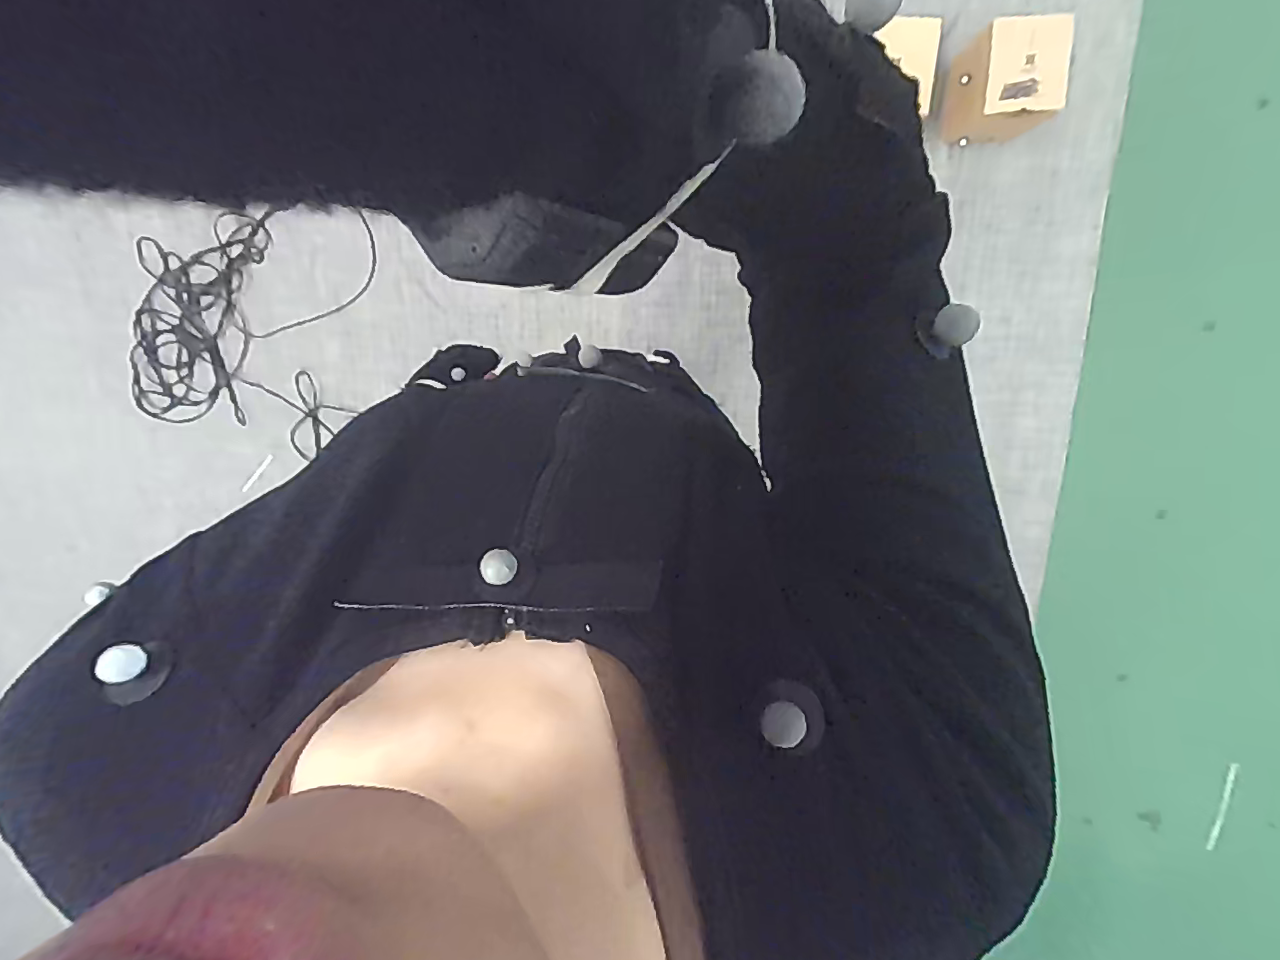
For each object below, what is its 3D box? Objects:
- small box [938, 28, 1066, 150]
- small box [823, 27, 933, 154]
[{"bbox_3d":[0.788,-0.852,1.197,0.168,0.176,0.179,-1,102,1],"label":"small box"},{"bbox_3d":[0.519,-0.857,1.203,0.168,0.176,0.179,2,103,1],"label":"small box"}]
